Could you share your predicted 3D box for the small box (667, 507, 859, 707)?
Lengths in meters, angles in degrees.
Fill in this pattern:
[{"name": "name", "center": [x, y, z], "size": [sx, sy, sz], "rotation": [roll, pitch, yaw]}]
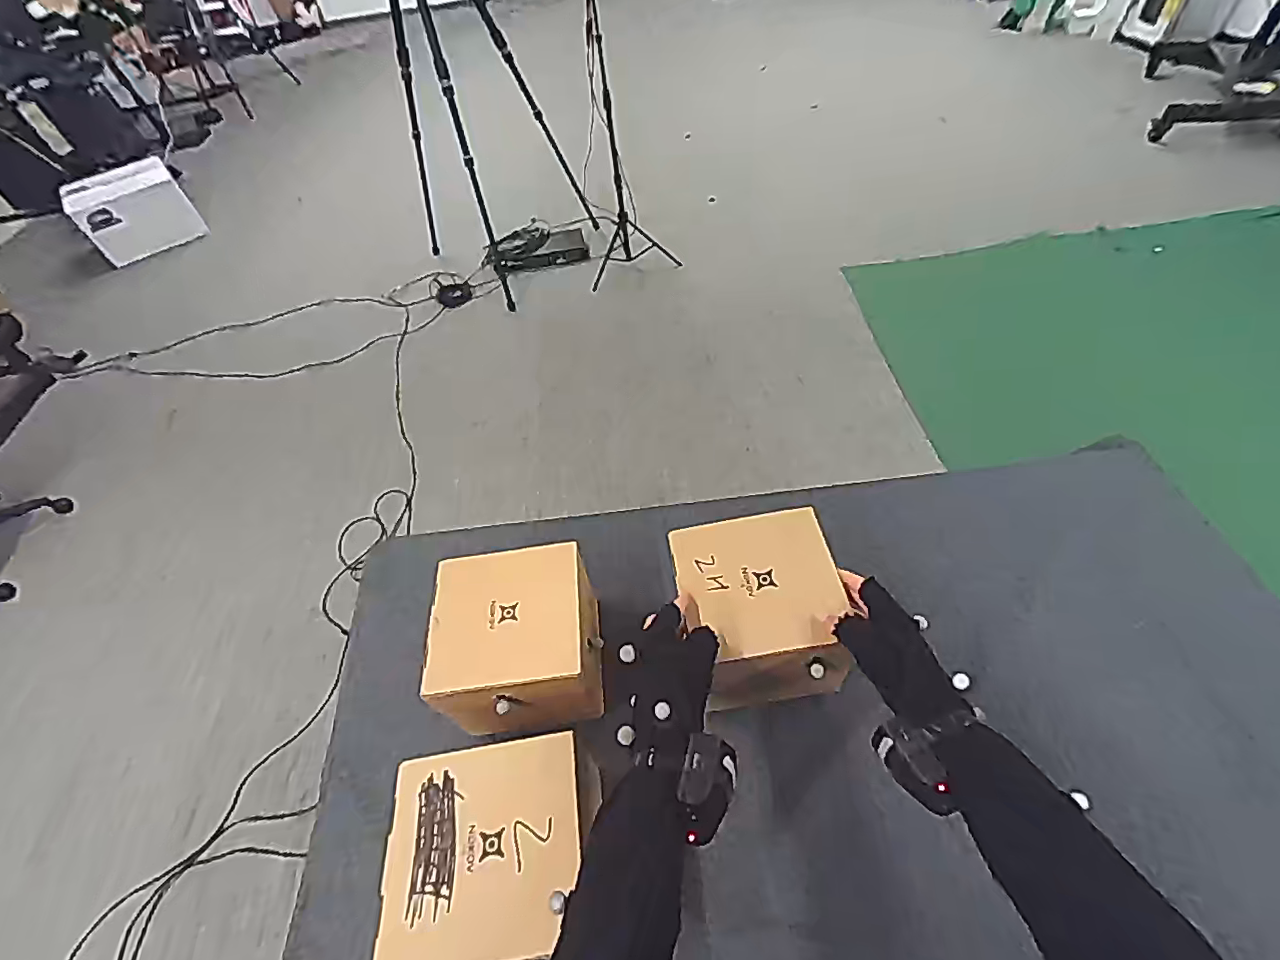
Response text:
[{"name": "small box", "center": [0.134, 0.157, 0.649], "size": [0.179, 0.176, 0.168], "rotation": [-10, 51, 2]}]
